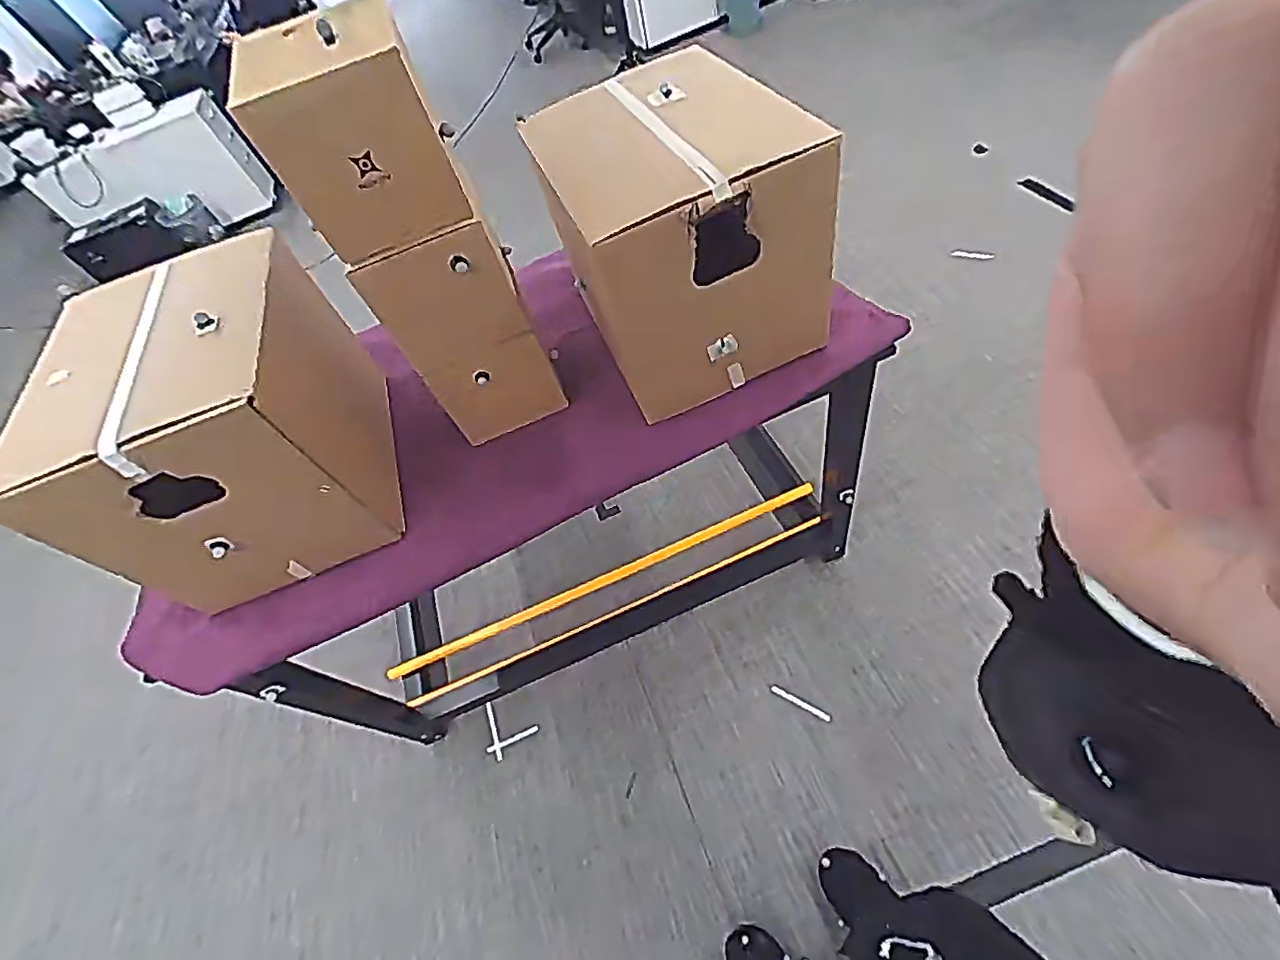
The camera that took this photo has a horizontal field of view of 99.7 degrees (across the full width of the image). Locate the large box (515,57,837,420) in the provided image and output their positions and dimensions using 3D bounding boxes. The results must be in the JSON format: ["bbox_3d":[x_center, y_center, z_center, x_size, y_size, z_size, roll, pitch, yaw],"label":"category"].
[{"bbox_3d":[0.050,-0.370,0.833,0.320,0.320,0.408,-24,52,-3],"label":"large box"}]
